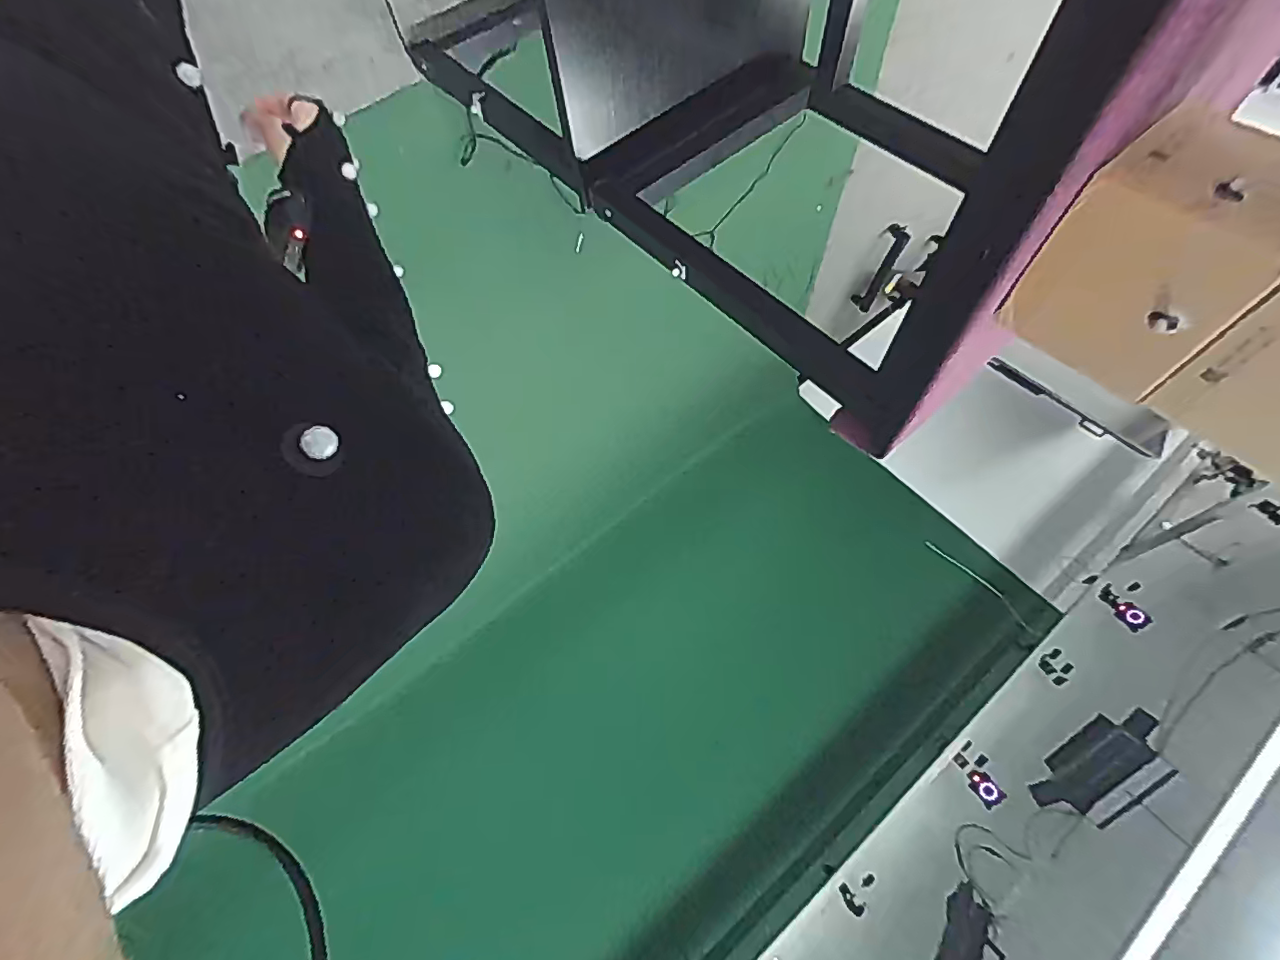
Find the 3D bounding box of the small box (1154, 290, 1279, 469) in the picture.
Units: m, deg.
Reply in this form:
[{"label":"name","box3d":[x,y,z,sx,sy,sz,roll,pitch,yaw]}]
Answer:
[{"label":"small box","box3d":[0.611,-0.114,0.457,0.179,0.176,0.168,-36,155,-16]}]

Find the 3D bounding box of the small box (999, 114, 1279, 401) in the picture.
[{"label":"small box","box3d":[0.501,-0.218,0.522,0.168,0.176,0.179,-36,155,-17]}]
